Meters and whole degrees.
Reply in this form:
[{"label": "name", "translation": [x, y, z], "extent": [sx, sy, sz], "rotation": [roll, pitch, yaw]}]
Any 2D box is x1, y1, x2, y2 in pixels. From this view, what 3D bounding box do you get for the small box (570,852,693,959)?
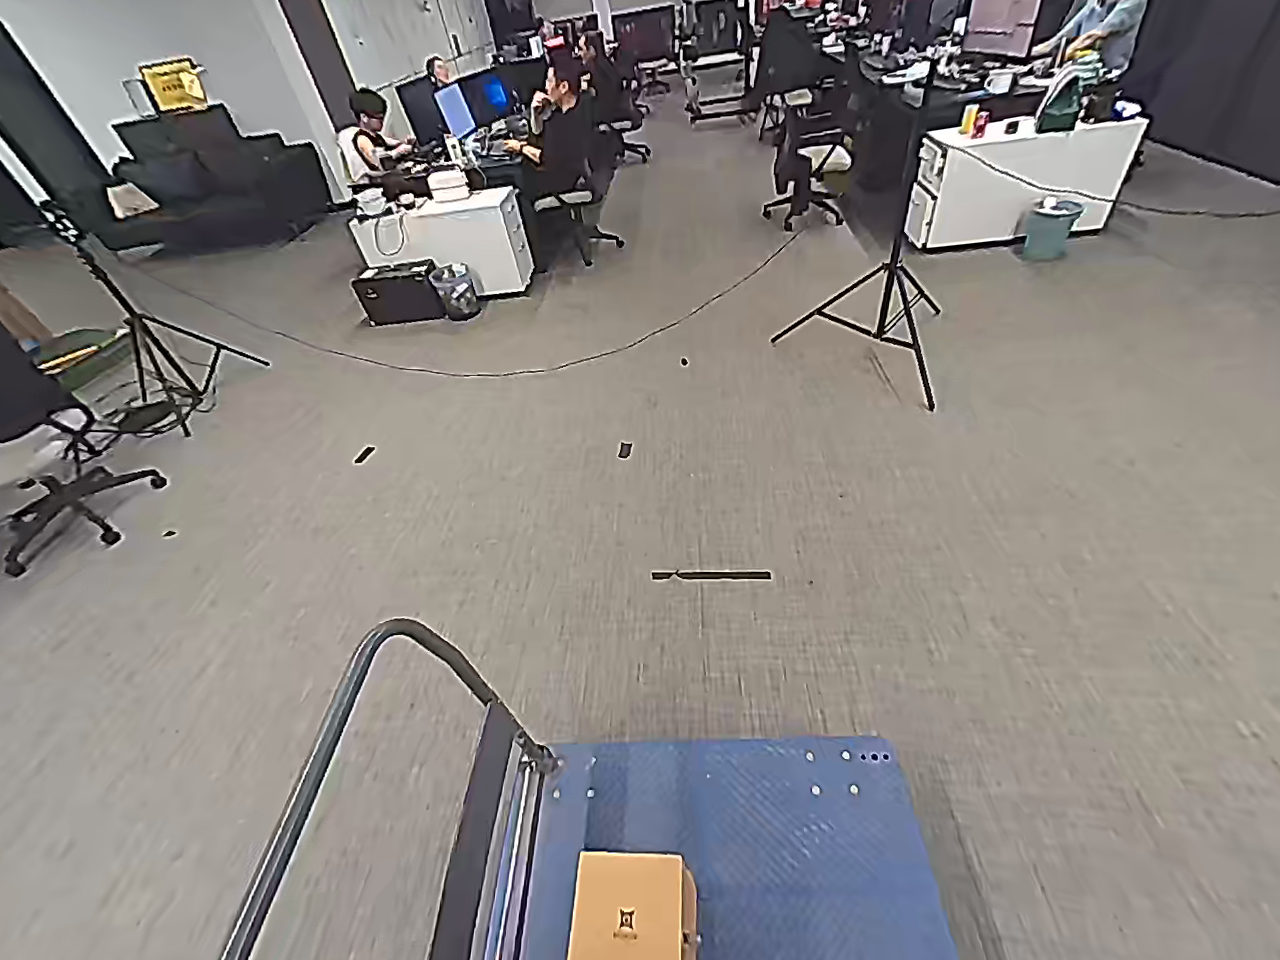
[{"label": "small box", "translation": [-0.007, 0.704, 0.838], "extent": [0.168, 0.176, 0.179], "rotation": [-3, 44, 7]}]
